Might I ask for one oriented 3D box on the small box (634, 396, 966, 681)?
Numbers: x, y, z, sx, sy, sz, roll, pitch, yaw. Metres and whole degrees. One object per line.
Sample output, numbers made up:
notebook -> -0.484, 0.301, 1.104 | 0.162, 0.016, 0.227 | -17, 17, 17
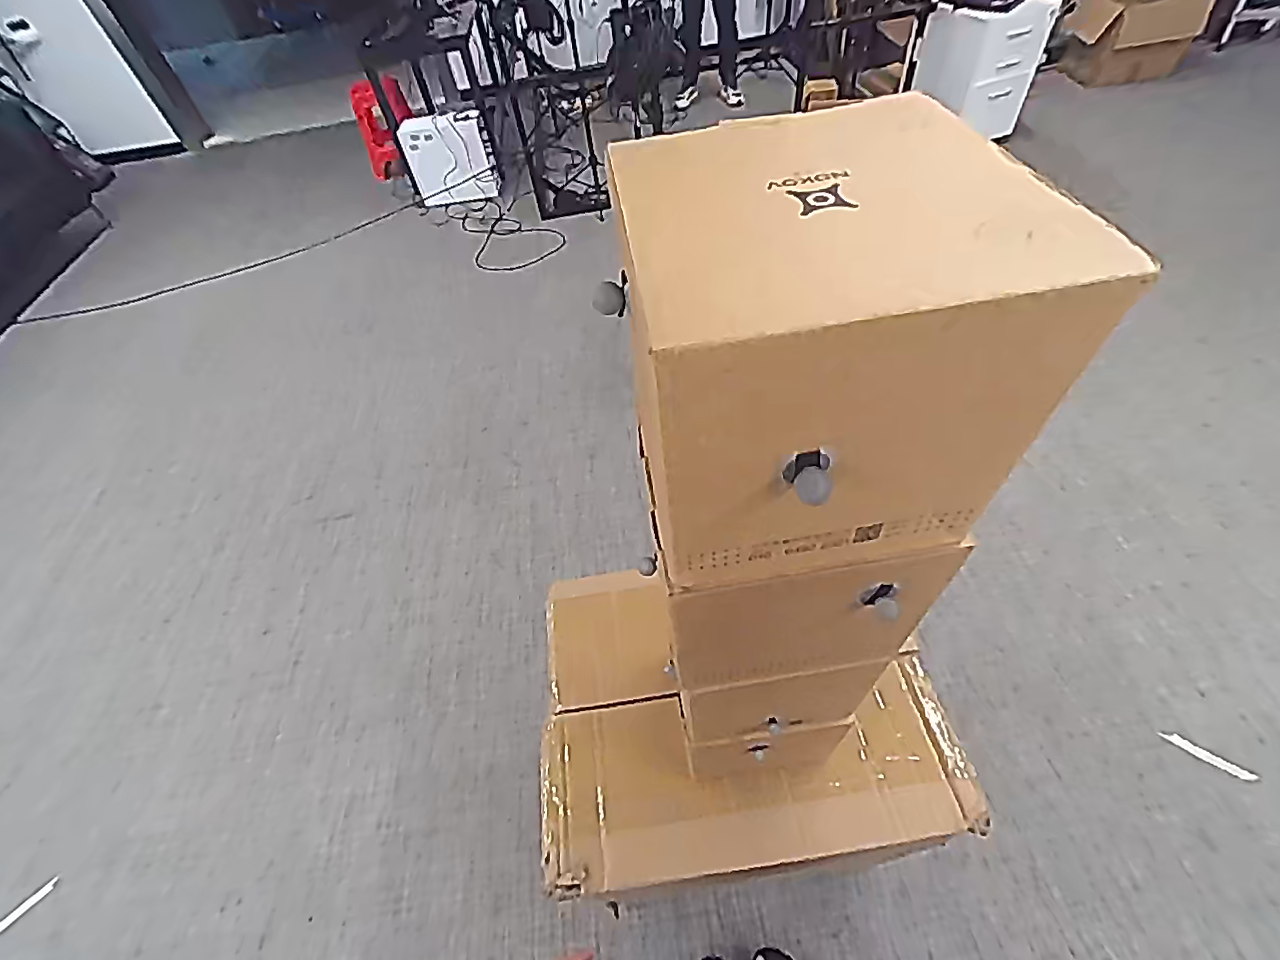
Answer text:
small box -> 0.096, 0.036, 0.412 | 0.179, 0.176, 0.168 | -9, 51, 0

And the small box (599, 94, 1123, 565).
small box -> 0.078, -0.069, 0.290 | 0.168, 0.176, 0.179 | -10, 51, 0

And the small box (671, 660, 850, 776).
small box -> 0.131, 0.247, 0.662 | 0.179, 0.176, 0.168 | -9, 51, 0
